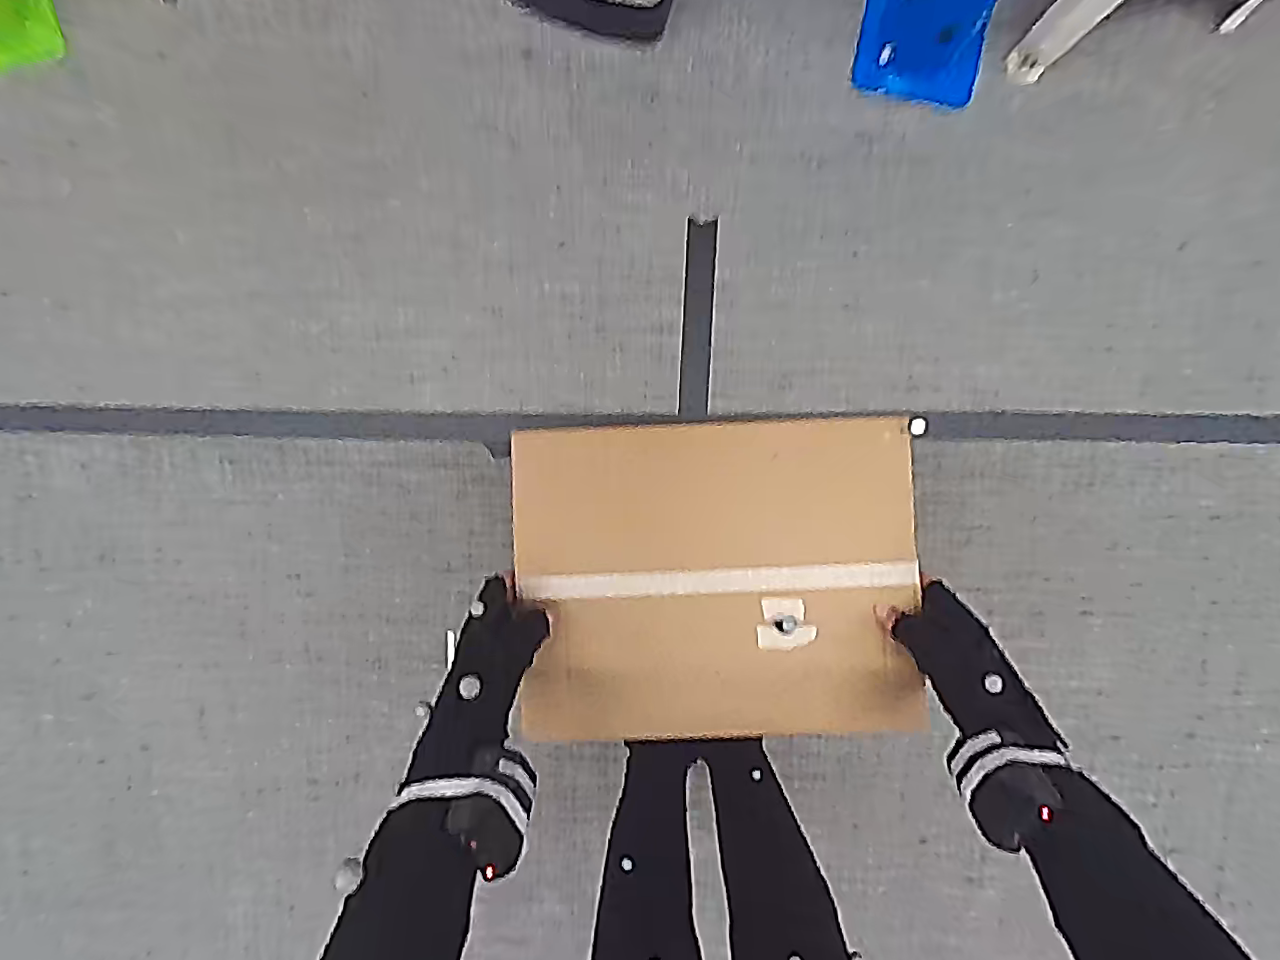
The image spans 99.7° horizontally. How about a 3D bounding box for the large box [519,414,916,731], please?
[{"bbox_3d":[0.078,0.101,0.711,0.408,0.320,0.320,-3,89,0],"label":"large box"}]
